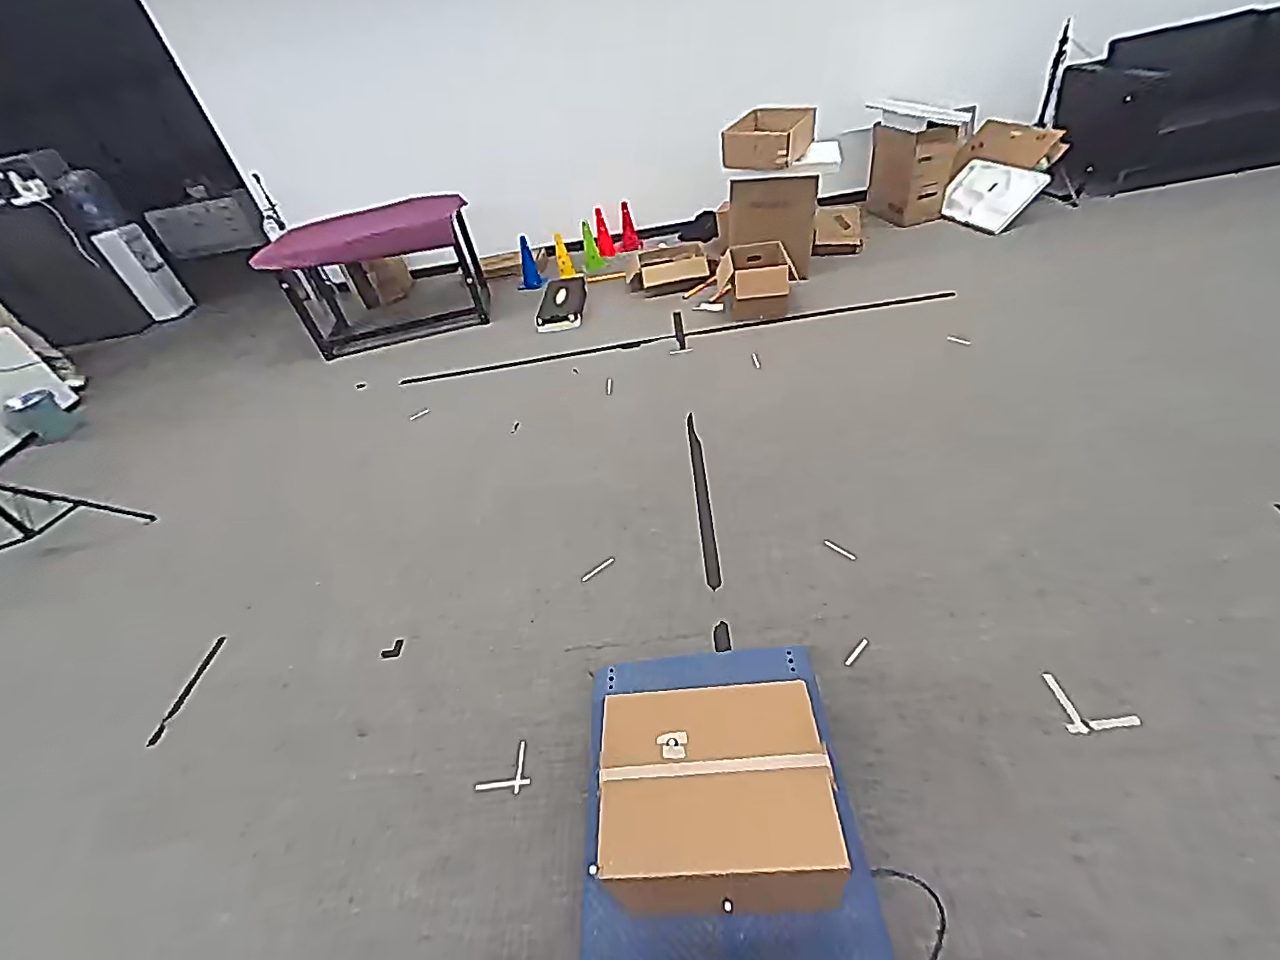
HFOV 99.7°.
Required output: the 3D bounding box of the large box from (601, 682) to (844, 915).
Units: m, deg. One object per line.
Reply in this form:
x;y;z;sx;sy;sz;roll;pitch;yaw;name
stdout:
0.155;0.644;1.086;0.408;0.320;0.320;-8;40;6;large box
